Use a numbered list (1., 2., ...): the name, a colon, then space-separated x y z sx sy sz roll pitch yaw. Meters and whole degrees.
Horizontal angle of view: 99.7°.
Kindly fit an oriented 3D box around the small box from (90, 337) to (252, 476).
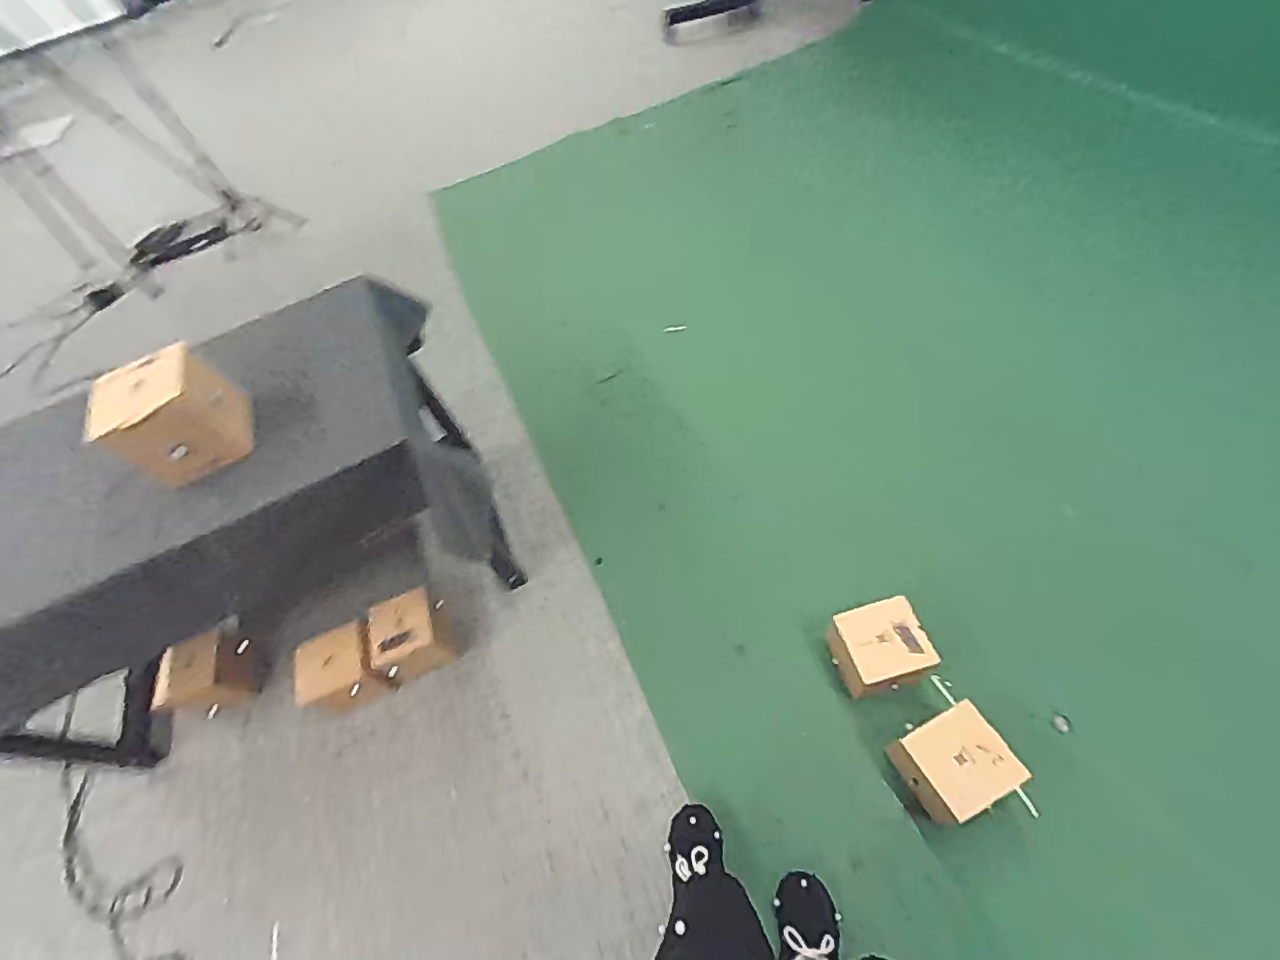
1. small box: -0.875 -0.130 1.027 0.168 0.176 0.179 -27 56 -8

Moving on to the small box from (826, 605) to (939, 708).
1. small box: 0.562 0.421 1.279 0.179 0.176 0.168 -17 54 1

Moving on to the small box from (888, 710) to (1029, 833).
1. small box: 0.648 0.614 1.132 0.179 0.176 0.168 -26 57 -8

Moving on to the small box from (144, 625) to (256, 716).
1. small box: -1.227 0.540 1.525 0.168 0.176 0.179 -19 55 -1
